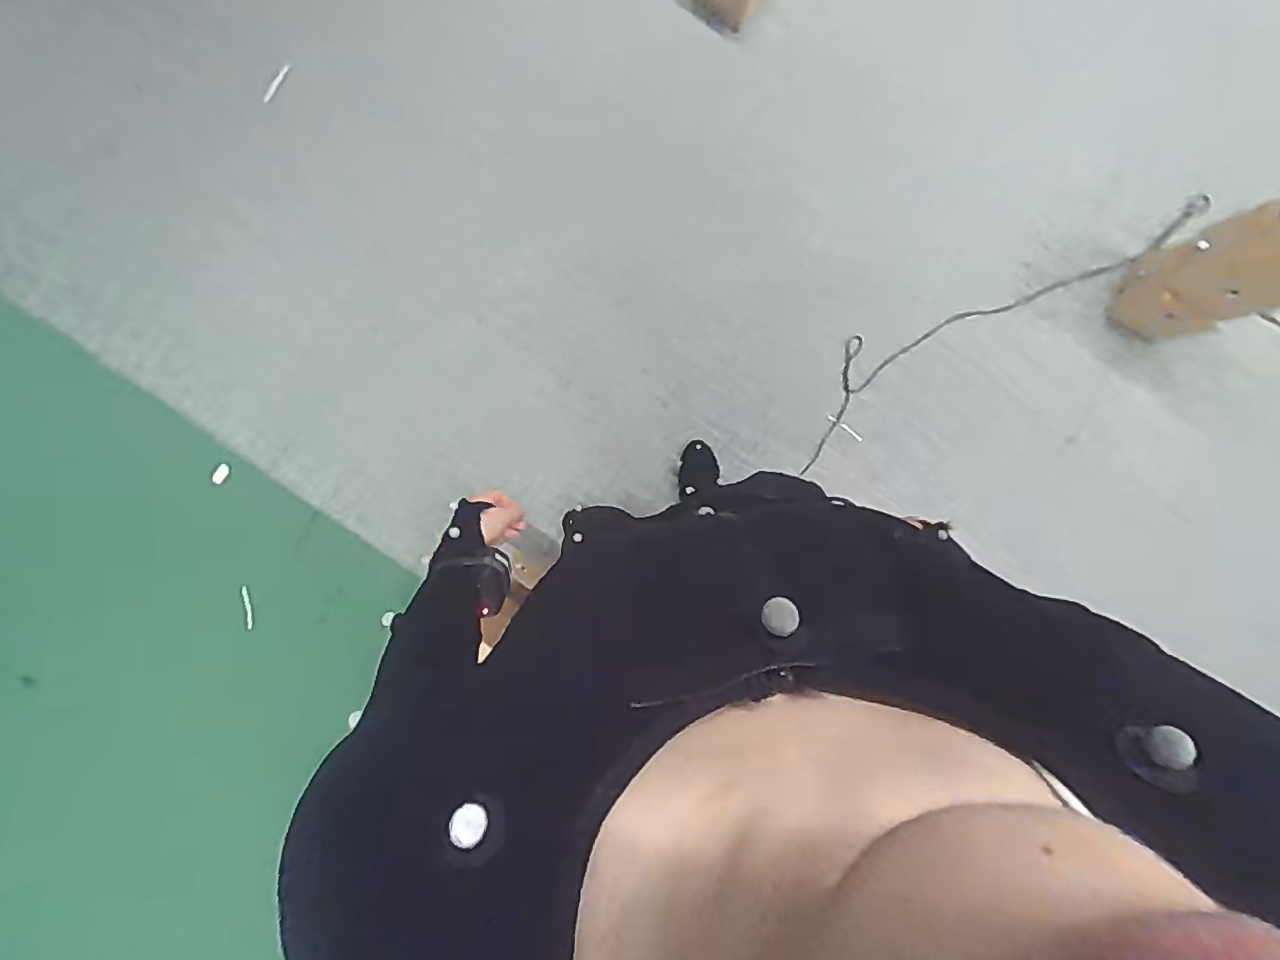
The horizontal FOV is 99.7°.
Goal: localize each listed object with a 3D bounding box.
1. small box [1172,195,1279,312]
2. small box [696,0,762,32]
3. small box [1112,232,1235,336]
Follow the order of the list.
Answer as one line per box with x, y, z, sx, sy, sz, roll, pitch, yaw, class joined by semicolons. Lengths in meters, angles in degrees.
1.377;-0.497;1.209;0.179;0.176;0.168;30;91;-1;small box
0.240;-1.281;1.337;0.168;0.176;0.179;35;92;-2;small box
1.371;-0.486;1.373;0.179;0.176;0.168;26;93;-2;small box
